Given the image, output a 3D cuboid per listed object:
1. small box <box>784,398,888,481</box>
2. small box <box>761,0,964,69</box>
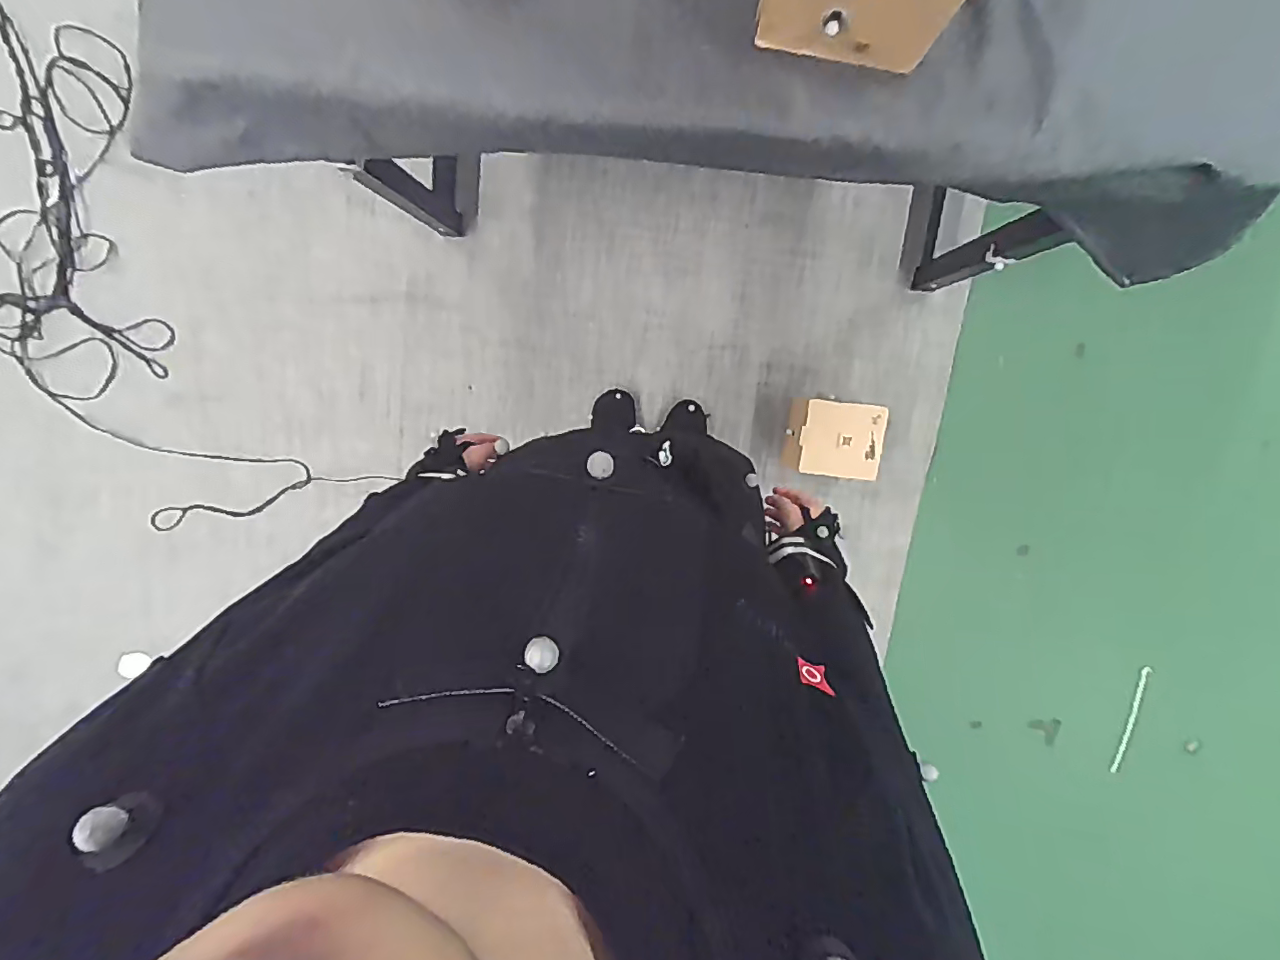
[{"bbox_3d":[0.444,-0.099,1.254,0.179,0.176,0.168,7,99,2],"label":"small box"},{"bbox_3d":[0.210,-0.502,0.457,0.168,0.176,0.179,11,100,1],"label":"small box"}]
